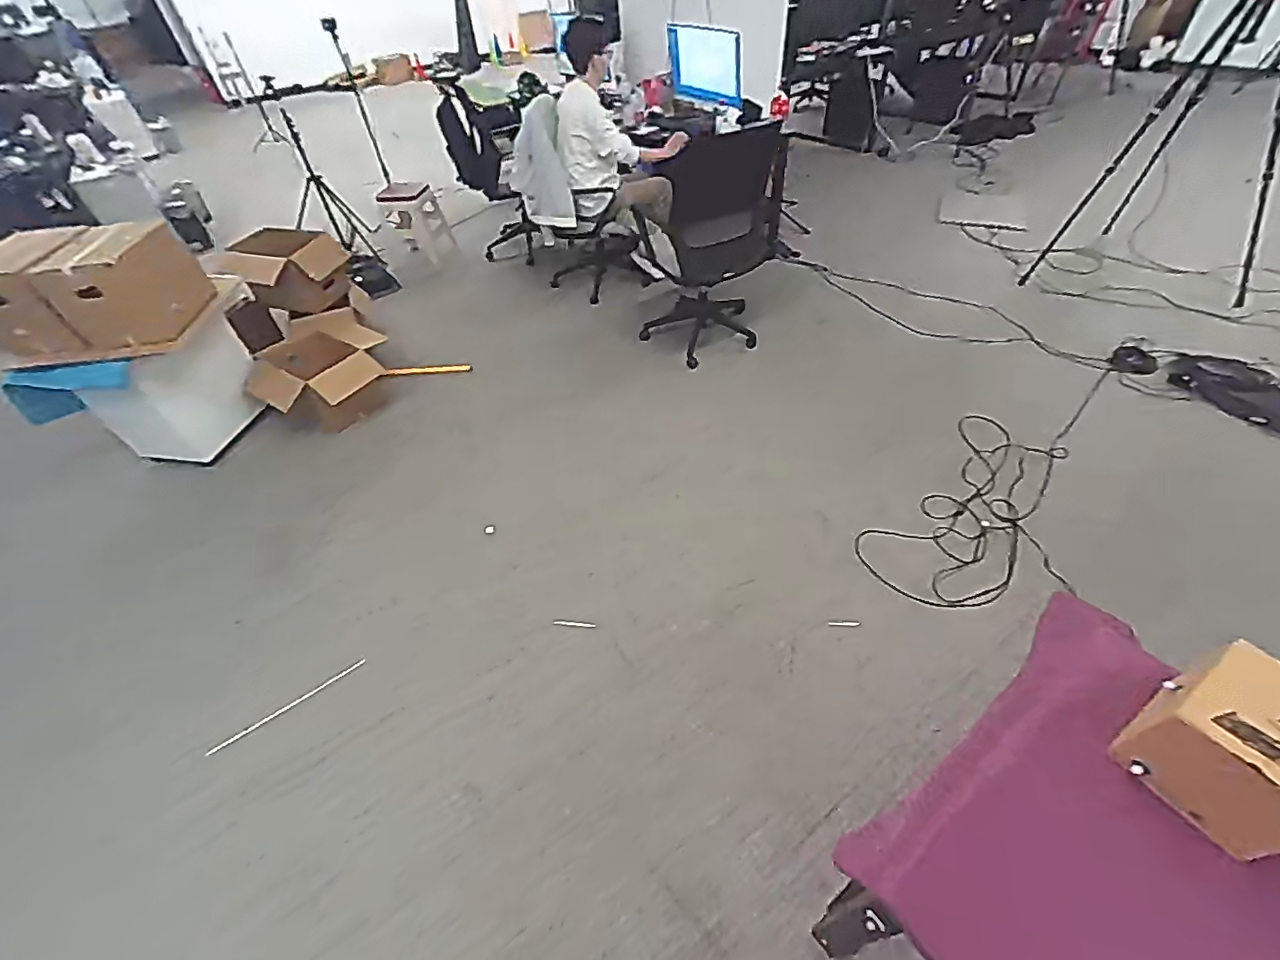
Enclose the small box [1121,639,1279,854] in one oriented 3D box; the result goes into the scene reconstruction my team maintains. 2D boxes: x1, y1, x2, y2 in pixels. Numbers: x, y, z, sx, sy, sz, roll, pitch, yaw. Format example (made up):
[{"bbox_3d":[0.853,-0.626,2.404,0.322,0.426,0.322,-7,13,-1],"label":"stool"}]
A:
[{"bbox_3d":[0.801,0.356,0.719,0.179,0.176,0.168,-28,51,-19],"label":"small box"}]
